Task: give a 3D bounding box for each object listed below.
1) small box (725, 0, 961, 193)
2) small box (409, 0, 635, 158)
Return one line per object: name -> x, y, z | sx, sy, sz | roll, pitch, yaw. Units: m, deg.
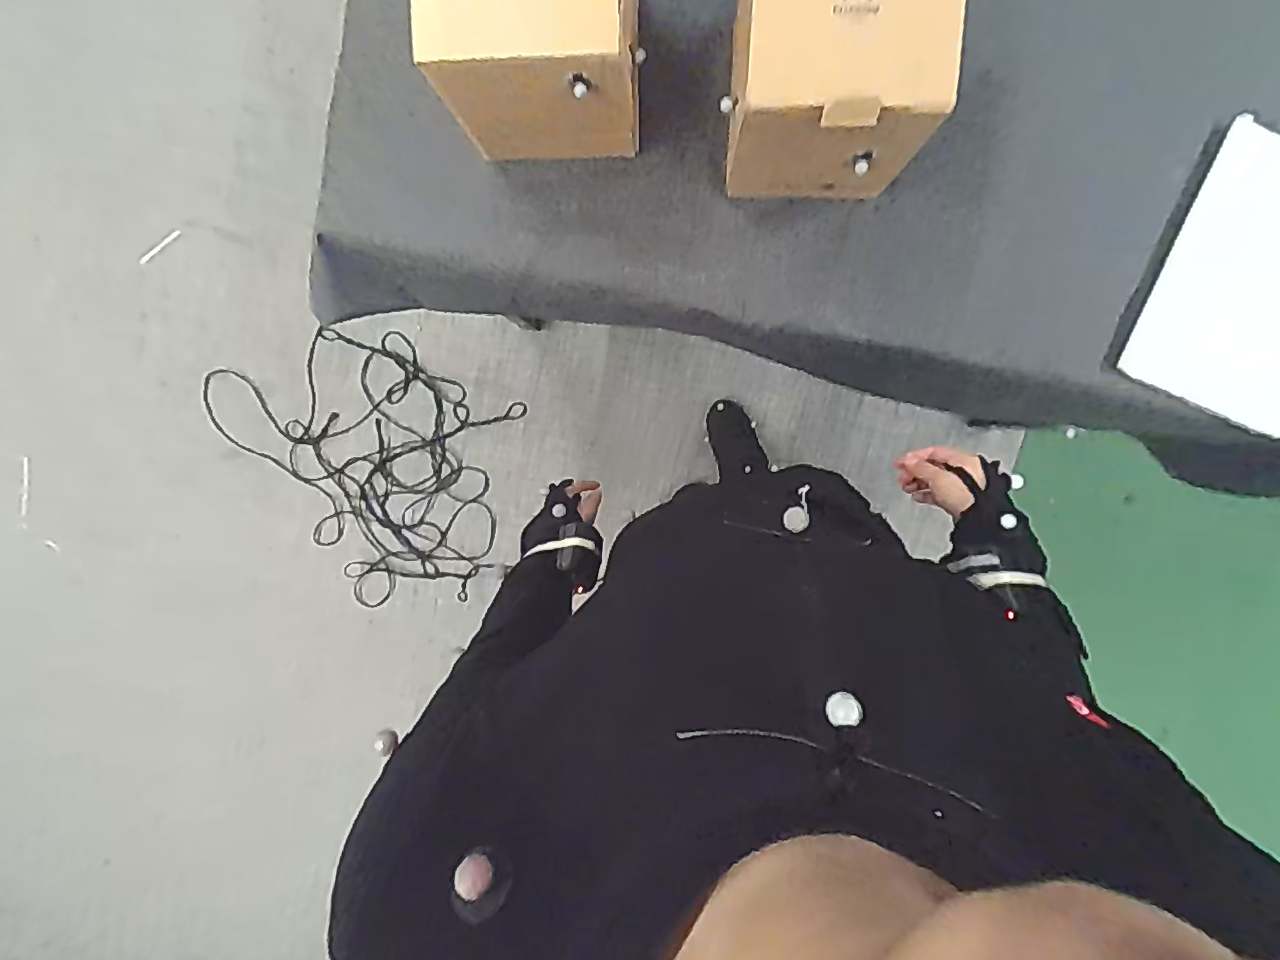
small box -> 0.171, -0.387, 0.499 | 0.168, 0.176, 0.179 | 2, 94, 2
small box -> -0.097, -0.431, 0.513 | 0.179, 0.176, 0.168 | 0, 95, 3
